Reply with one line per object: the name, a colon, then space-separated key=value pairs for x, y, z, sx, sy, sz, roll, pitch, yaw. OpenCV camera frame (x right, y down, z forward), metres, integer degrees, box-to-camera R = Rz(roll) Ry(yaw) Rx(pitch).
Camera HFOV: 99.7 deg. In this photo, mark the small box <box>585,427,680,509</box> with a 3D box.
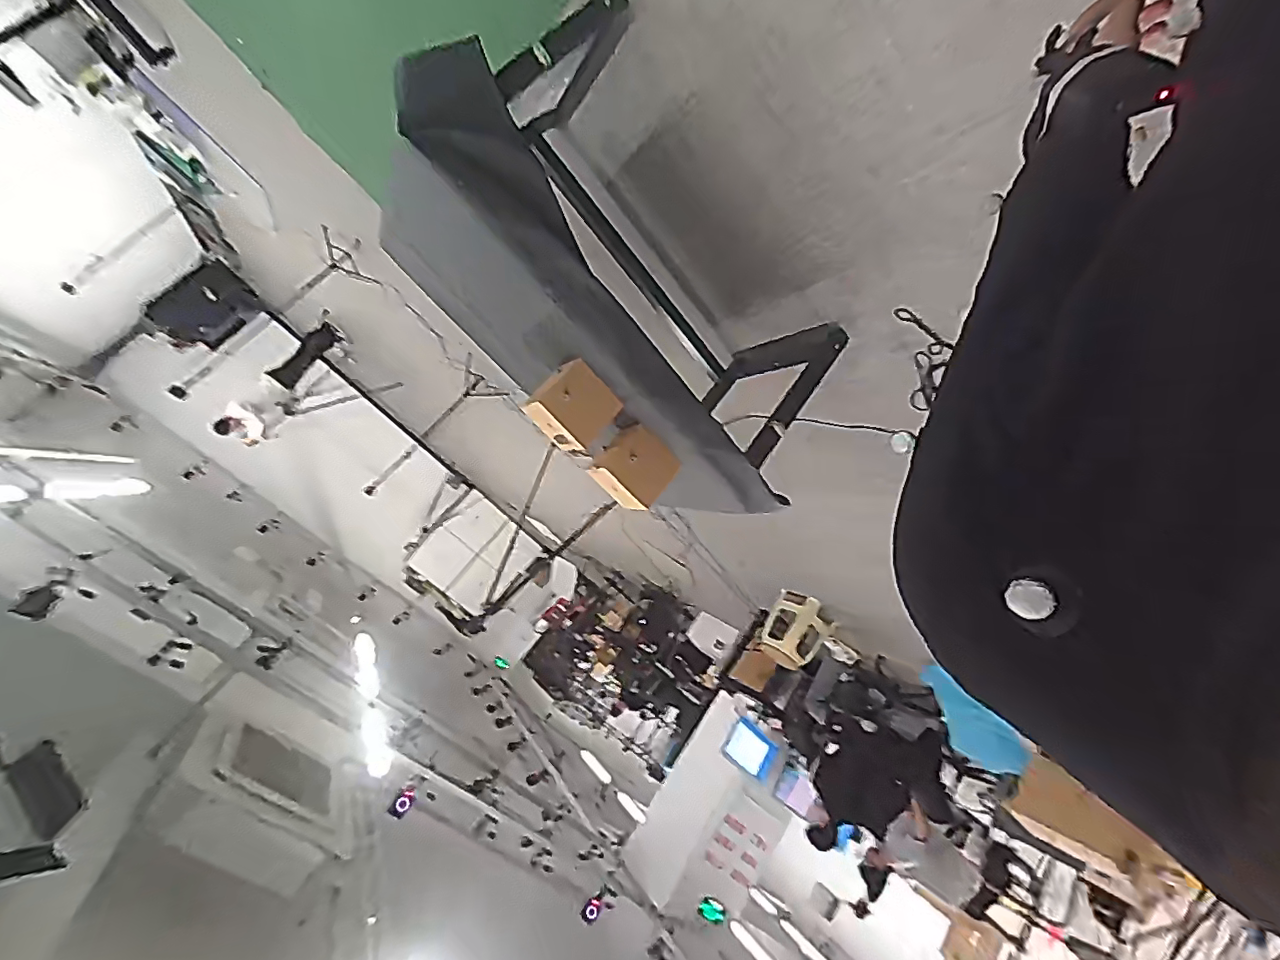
small box: x=-0.020 y=-0.037 z=1.543 sx=0.179 sy=0.176 sz=0.168 roll=44 pitch=162 yaw=-18
